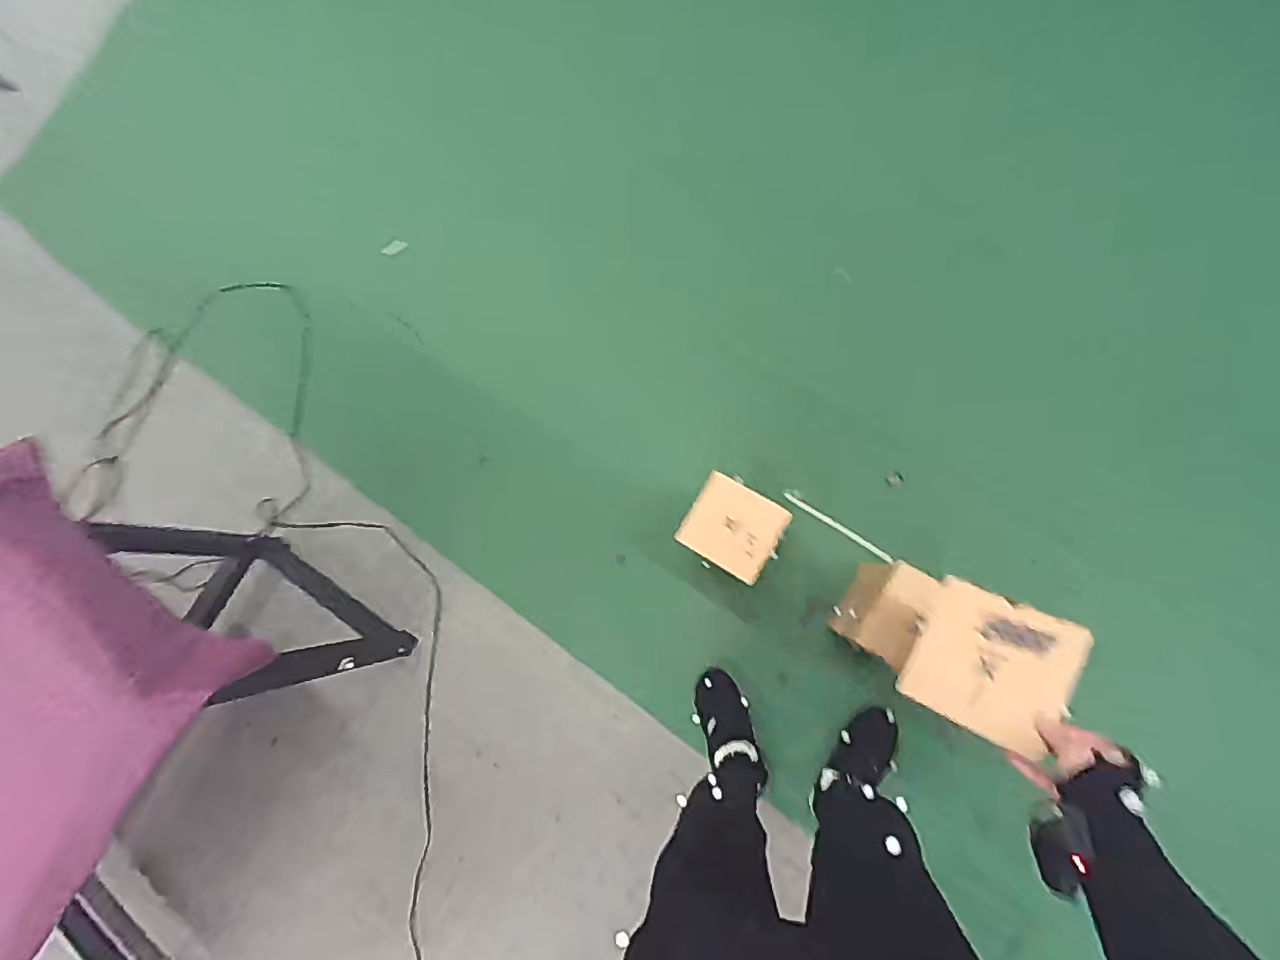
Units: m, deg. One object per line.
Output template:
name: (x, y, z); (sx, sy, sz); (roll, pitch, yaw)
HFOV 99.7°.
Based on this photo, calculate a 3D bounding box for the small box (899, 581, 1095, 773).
small box: (0.478, 0.269, 0.743); (0.168, 0.176, 0.179); (24, 80, 36)

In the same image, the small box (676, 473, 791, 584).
small box: (0.200, 0.111, 1.156); (0.179, 0.176, 0.168); (32, 87, 15)

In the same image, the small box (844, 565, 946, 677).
small box: (0.522, 0.284, 1.062); (0.168, 0.176, 0.179); (32, 87, 14)
